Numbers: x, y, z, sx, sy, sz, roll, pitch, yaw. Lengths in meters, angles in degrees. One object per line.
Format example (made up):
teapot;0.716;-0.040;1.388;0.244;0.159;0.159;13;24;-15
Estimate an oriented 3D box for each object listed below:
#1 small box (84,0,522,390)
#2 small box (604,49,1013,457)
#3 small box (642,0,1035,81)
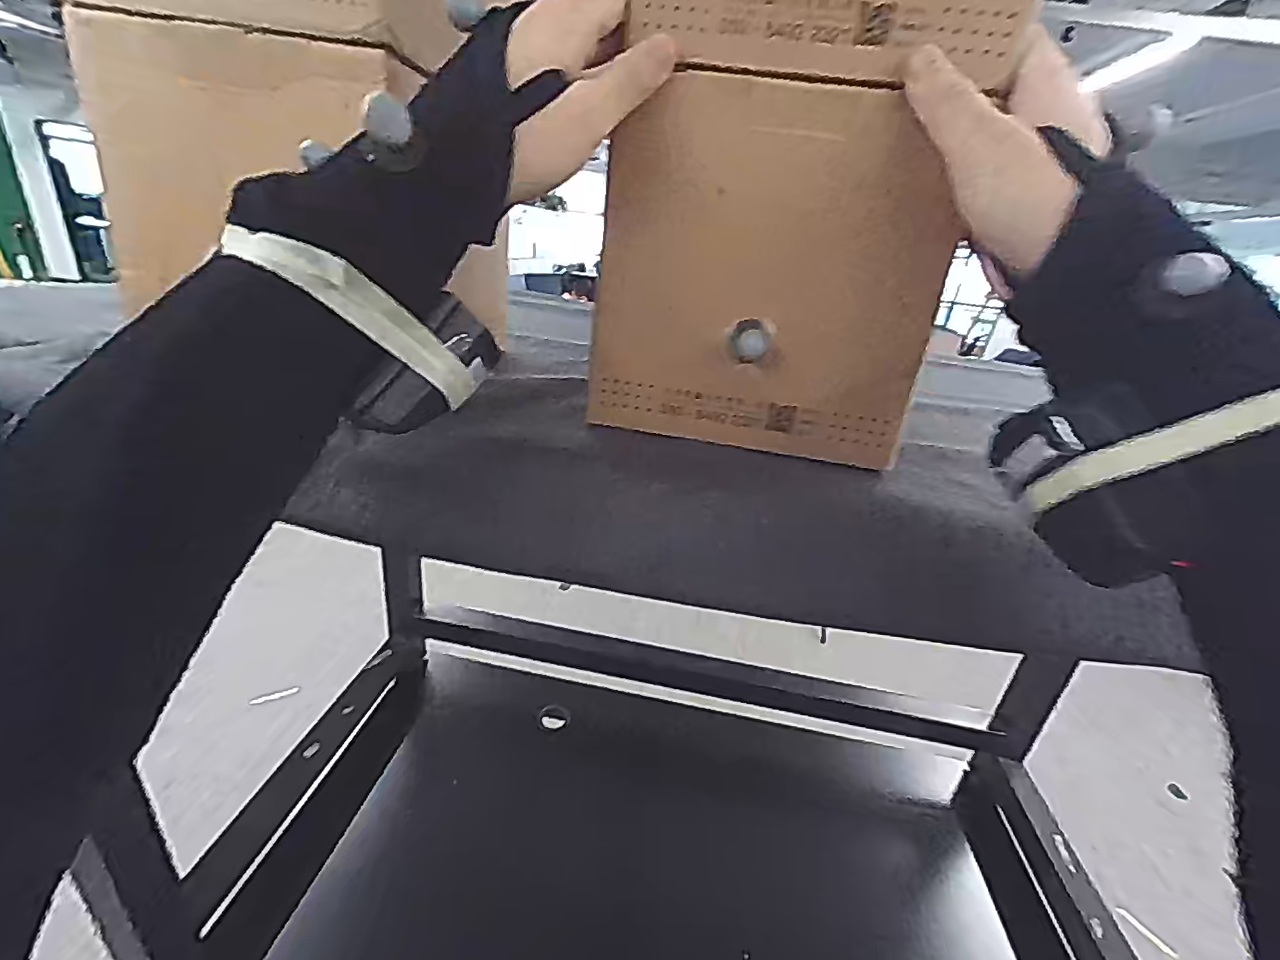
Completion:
small box;-0.190;-0.169;0.359;0.168;0.176;0.179;10;23;4
small box;0.078;-0.127;0.335;0.168;0.176;0.179;9;22;7
small box;0.099;-0.279;0.275;0.168;0.176;0.179;11;23;6
